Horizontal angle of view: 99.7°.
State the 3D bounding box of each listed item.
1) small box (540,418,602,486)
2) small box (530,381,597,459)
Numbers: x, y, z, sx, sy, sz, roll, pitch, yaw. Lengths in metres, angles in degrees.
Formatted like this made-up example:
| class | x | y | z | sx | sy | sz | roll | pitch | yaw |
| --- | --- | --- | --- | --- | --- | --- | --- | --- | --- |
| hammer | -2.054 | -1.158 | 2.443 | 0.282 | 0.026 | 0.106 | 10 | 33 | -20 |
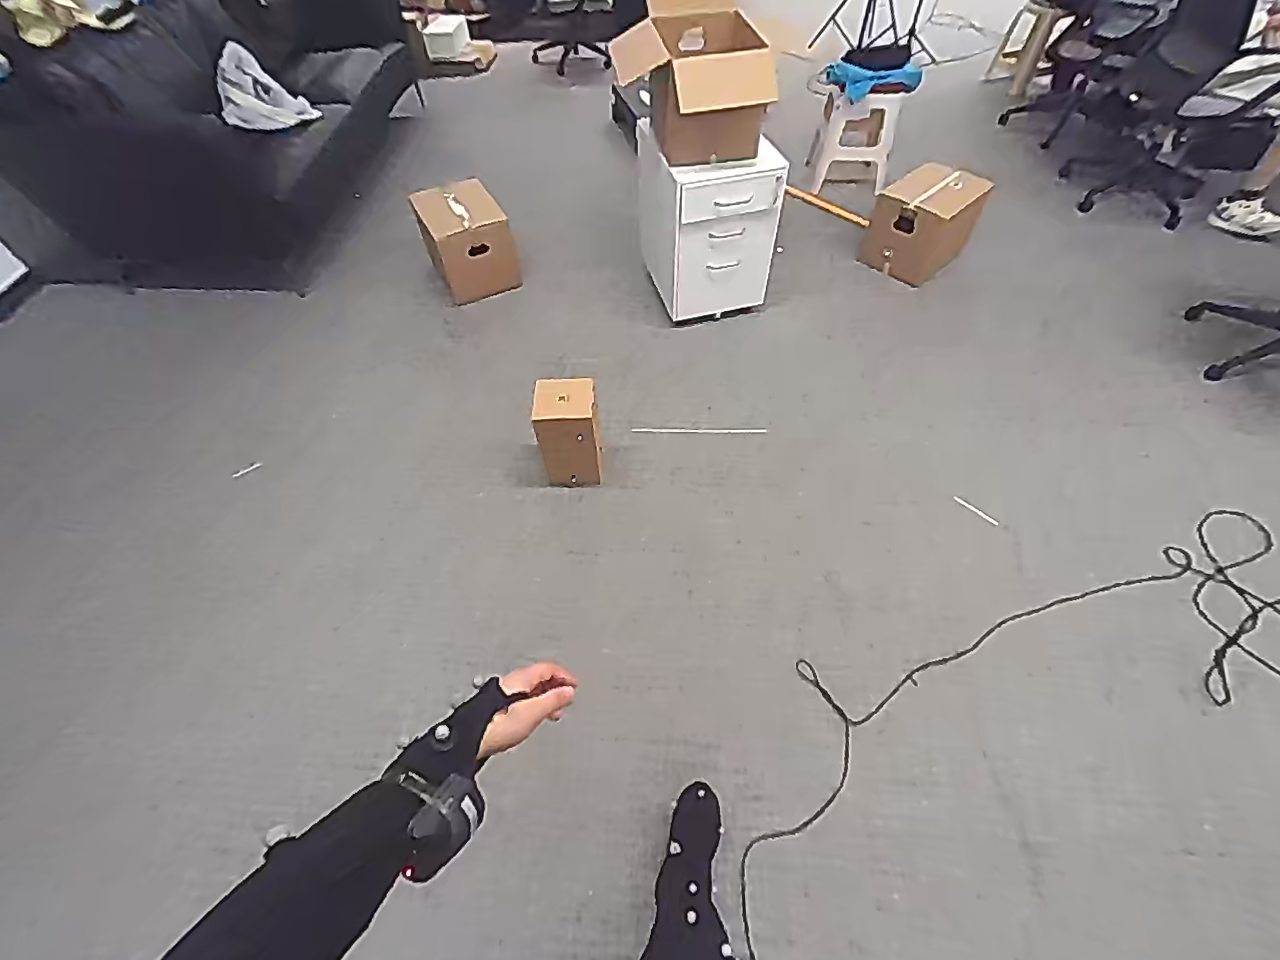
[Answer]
| class | x | y | z | sx | sy | sz | roll | pitch | yaw |
| --- | --- | --- | --- | --- | --- | --- | --- | --- | --- |
| small box | -0.220 | -0.092 | 1.777 | 0.179 | 0.176 | 0.168 | 0 | 54 | 1 |
| small box | -0.225 | -0.180 | 1.639 | 0.179 | 0.176 | 0.168 | -4 | 52 | 1 |
